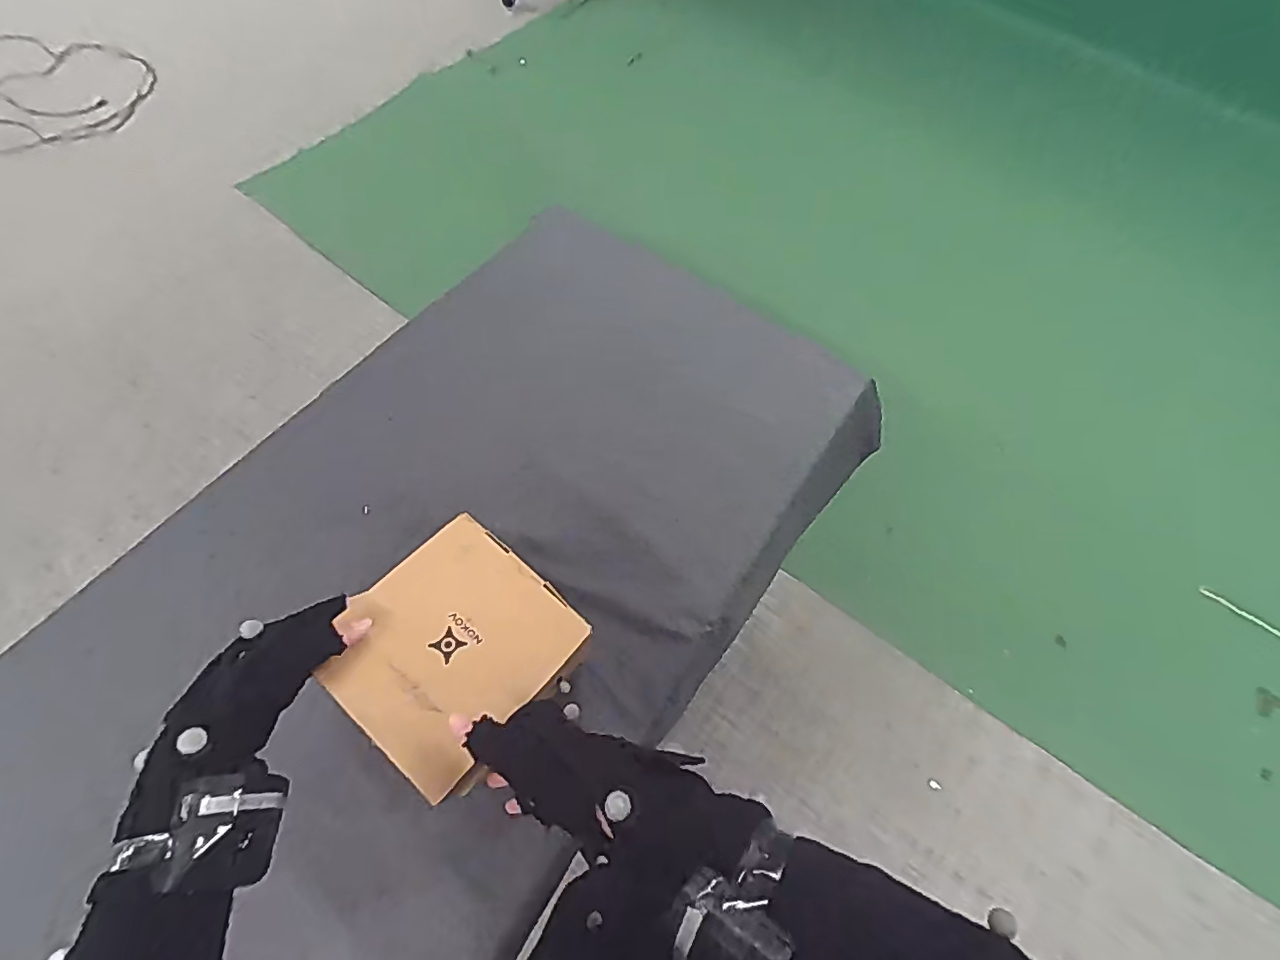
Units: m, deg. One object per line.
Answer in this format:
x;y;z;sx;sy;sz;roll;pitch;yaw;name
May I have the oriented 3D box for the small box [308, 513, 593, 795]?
-0.170;0.170;0.528;0.168;0.176;0.179;39;62;11;small box
